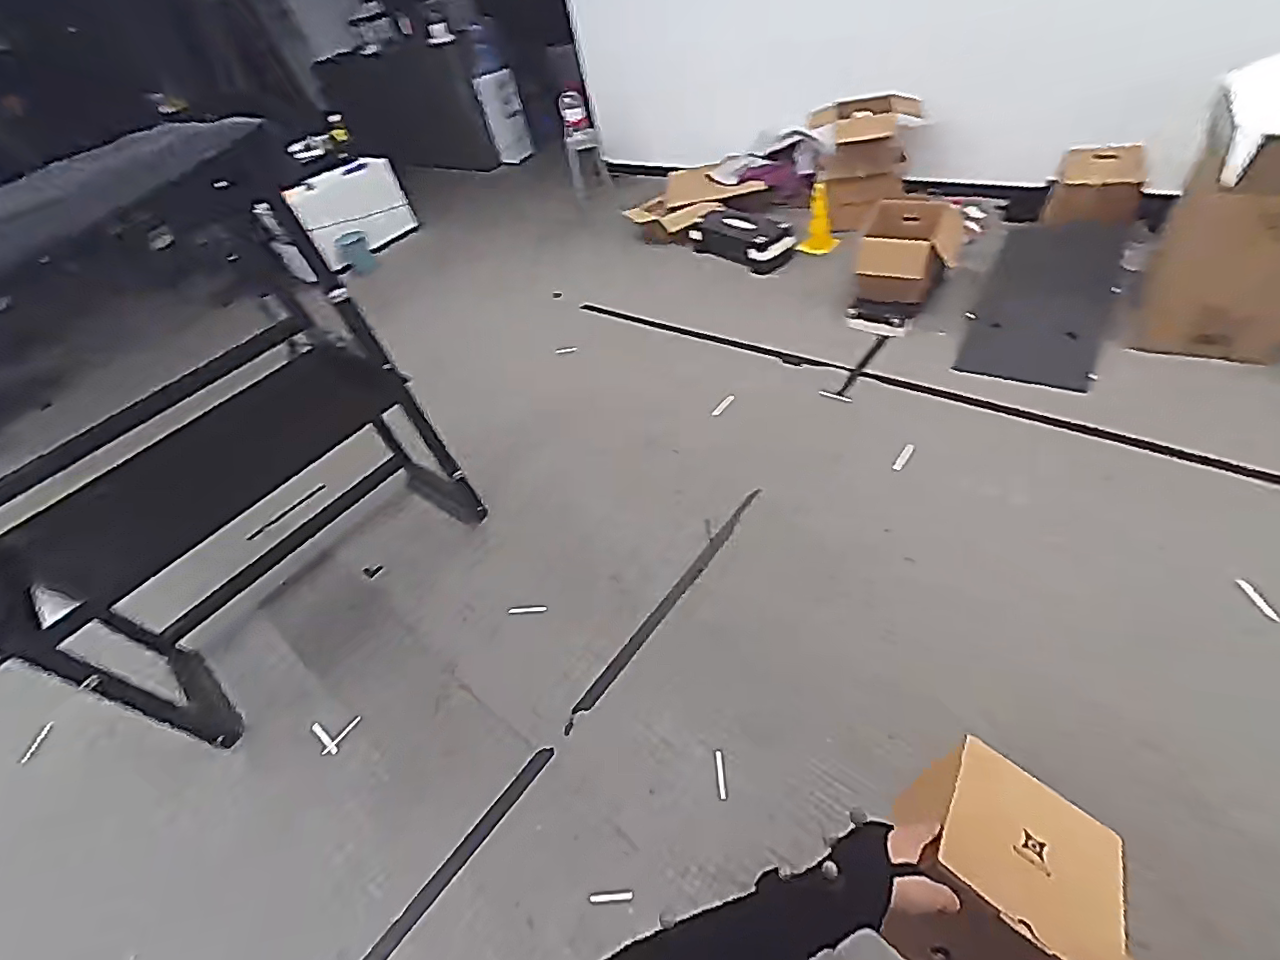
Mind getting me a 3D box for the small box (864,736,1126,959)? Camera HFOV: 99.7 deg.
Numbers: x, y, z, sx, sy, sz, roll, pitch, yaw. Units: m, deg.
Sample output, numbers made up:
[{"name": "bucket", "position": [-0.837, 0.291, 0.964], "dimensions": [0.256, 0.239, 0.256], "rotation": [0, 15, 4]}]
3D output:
[{"name": "small box", "position": [0.373, 0.431, 0.587], "dimensions": [0.168, 0.176, 0.179], "rotation": [33, 40, 22]}]
